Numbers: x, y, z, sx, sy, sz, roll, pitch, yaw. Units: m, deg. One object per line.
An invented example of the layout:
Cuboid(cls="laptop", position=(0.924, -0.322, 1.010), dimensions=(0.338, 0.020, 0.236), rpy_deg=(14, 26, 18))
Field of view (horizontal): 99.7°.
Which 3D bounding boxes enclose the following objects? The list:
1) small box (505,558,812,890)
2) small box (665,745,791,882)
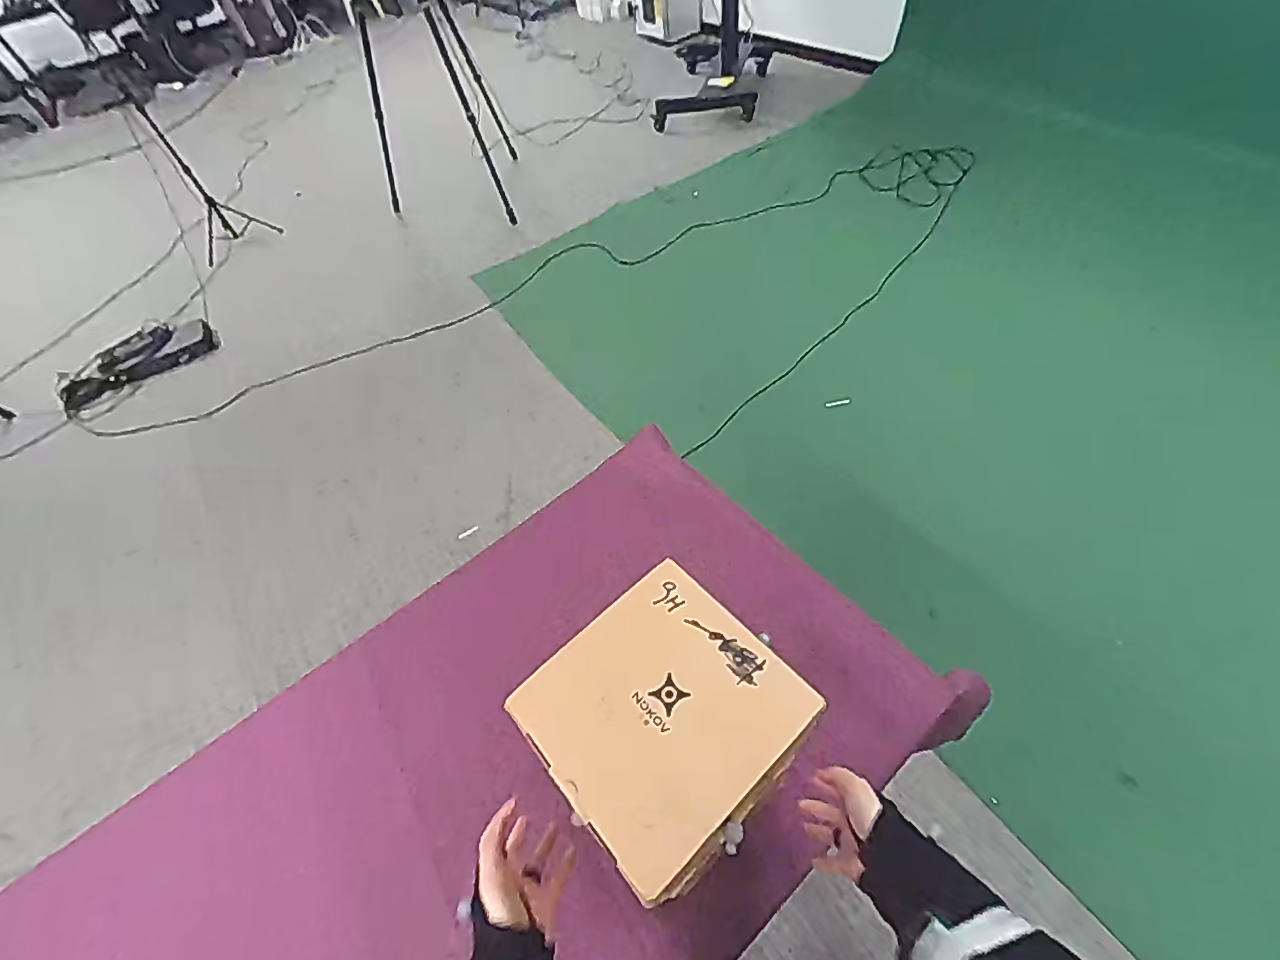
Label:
Cuboid(cls="small box", position=(0.021, 0.208, 0.465), dimensions=(0.179, 0.176, 0.168), rpy_deg=(-38, 58, -18))
Cuboid(cls="small box", position=(0.038, 0.304, 0.598), dimensions=(0.168, 0.176, 0.179), rpy_deg=(-39, 59, -19))
